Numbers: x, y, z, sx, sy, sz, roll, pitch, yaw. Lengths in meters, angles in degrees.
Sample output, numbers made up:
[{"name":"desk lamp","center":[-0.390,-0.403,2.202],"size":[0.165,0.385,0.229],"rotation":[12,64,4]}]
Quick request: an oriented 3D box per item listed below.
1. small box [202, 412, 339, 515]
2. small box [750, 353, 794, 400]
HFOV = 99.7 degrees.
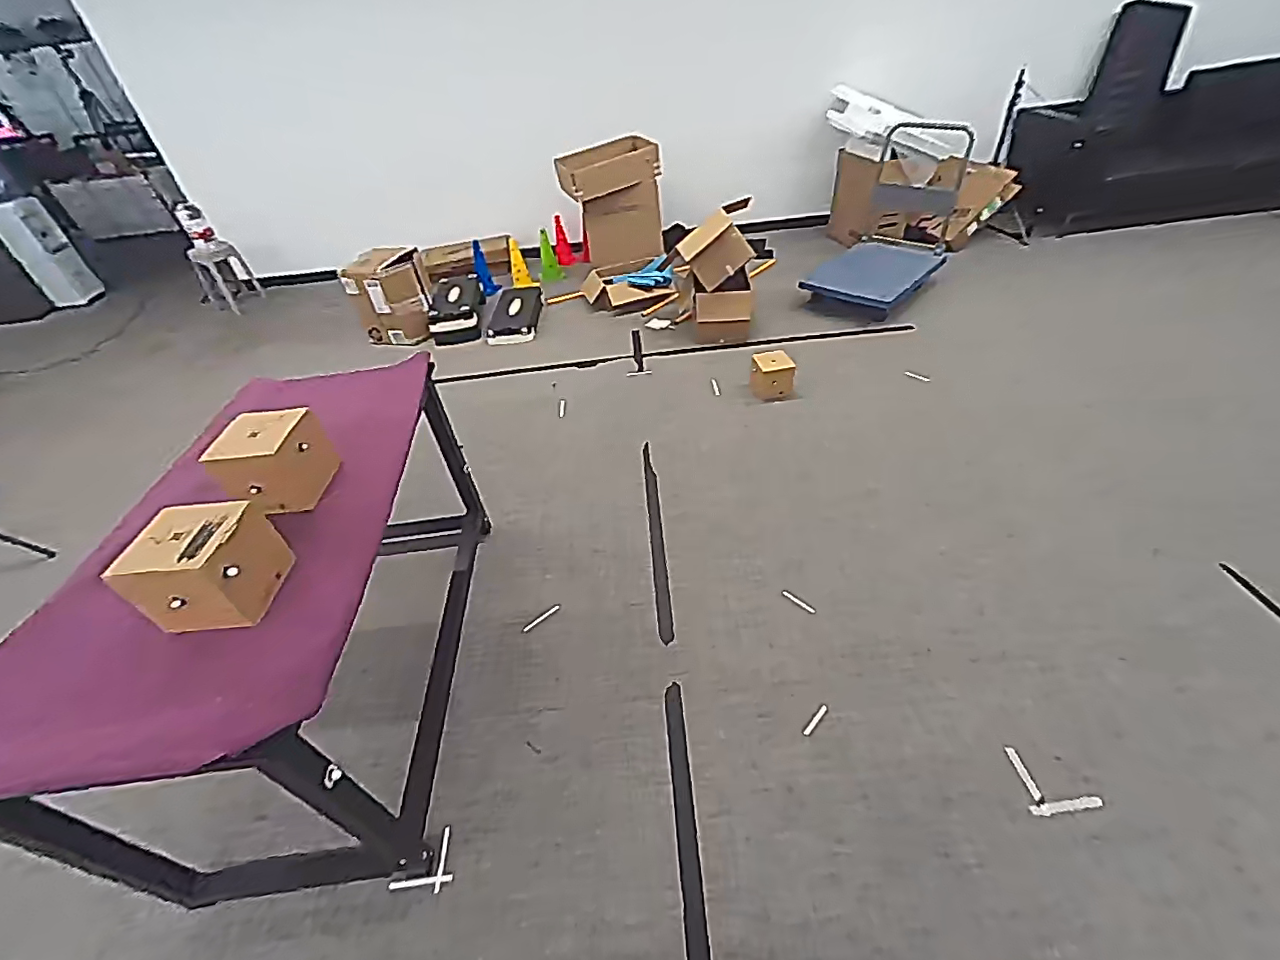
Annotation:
[{"name":"small box","center":[-0.825,-0.032,1.234],"size":[0.168,0.176,0.179],"rotation":[-5,40,2]},{"name":"small box","center":[0.657,-0.512,2.709],"size":[0.168,0.176,0.179],"rotation":[-11,41,-5]}]
